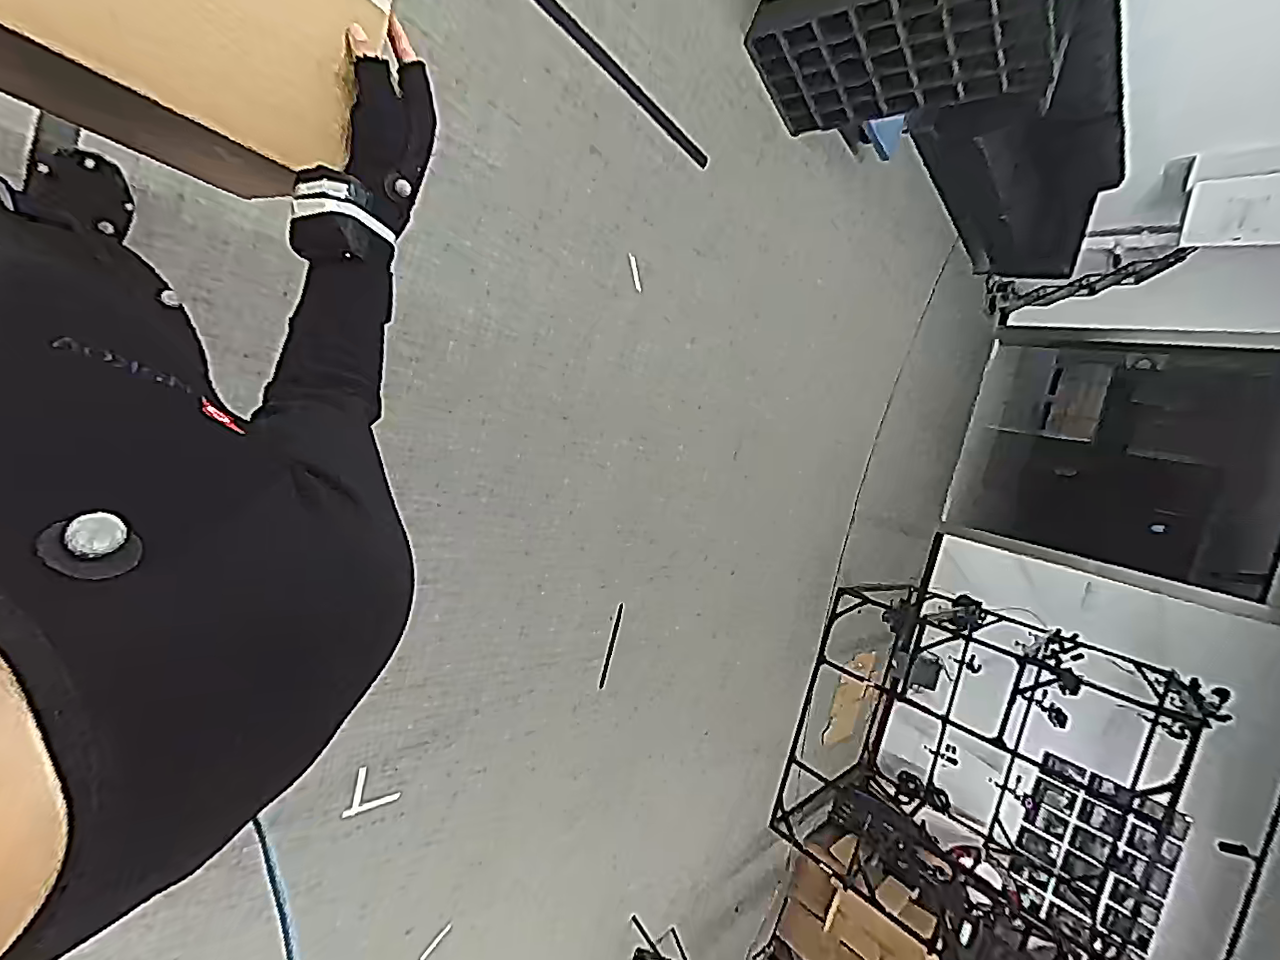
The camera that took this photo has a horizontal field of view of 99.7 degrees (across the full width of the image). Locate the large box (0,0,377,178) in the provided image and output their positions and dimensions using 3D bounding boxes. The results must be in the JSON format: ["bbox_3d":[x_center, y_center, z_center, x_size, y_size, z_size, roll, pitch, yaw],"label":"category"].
[{"bbox_3d":[-0.452,-0.478,0.394,0.408,0.320,0.320,9,102,-51],"label":"large box"}]
